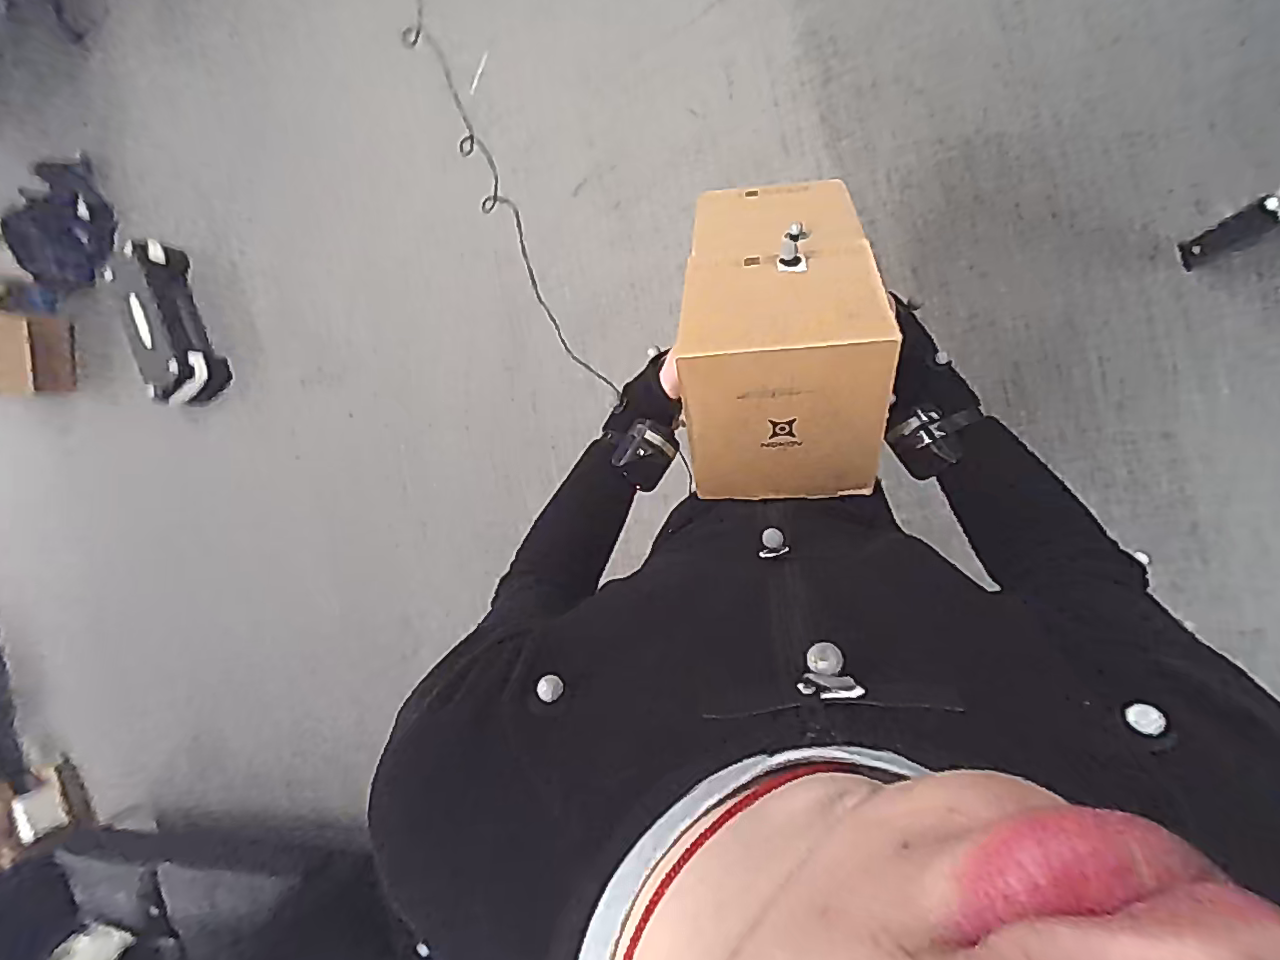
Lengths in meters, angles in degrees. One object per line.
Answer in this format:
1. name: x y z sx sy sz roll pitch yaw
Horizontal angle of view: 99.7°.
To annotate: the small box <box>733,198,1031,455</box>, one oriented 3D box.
1. small box: 0.220 -0.152 0.529 0.179 0.168 0.176 13 121 -15
